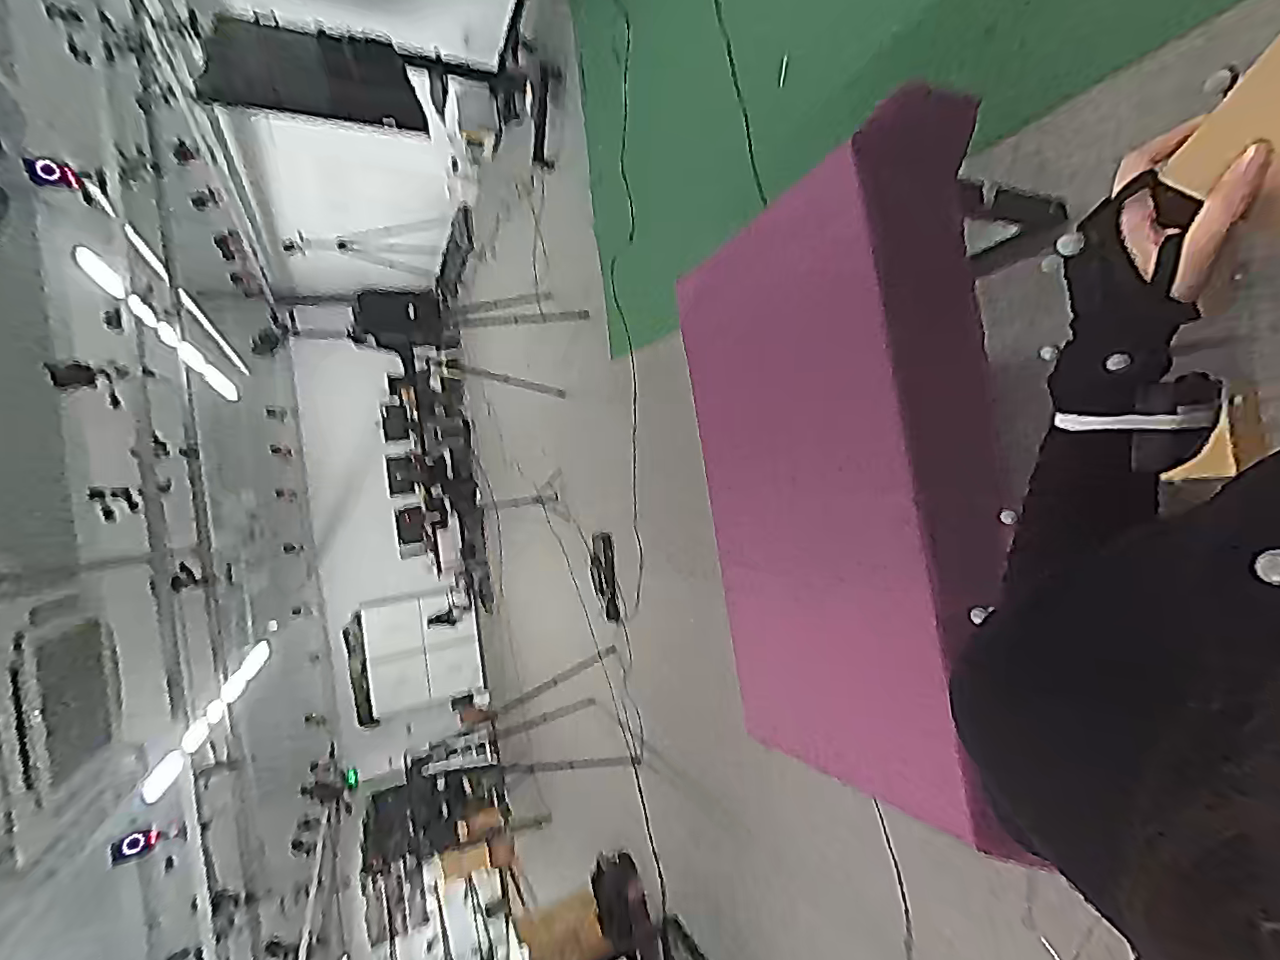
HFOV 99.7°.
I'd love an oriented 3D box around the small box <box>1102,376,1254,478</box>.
[{"bbox_3d":[1.087,-0.105,1.093,0.168,0.176,0.179,-12,86,63],"label":"small box"}]
